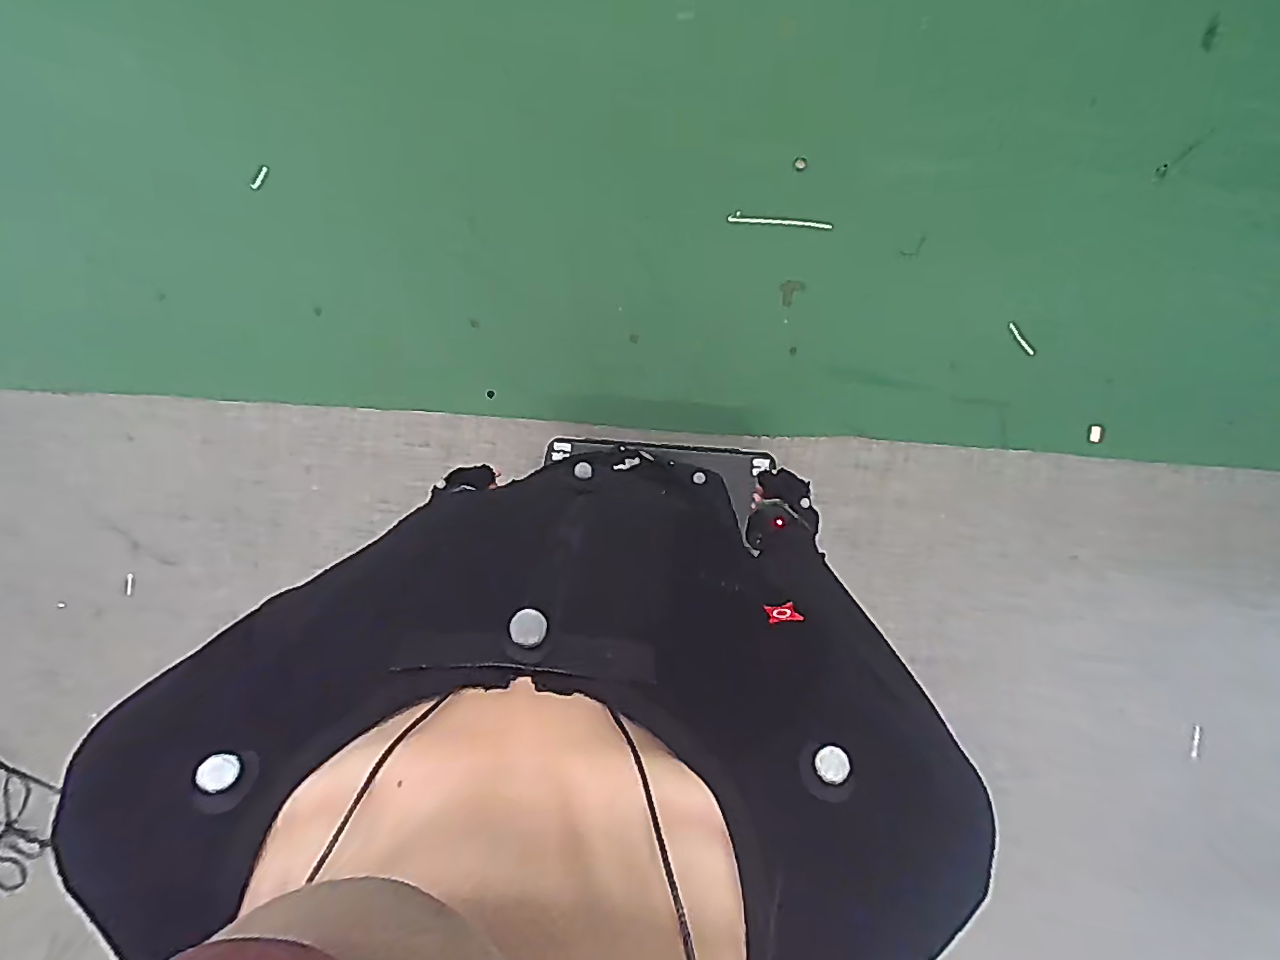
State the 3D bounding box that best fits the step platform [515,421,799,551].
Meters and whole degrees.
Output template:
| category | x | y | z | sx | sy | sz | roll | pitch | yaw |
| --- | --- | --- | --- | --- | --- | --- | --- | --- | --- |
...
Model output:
| category | x | y | z | sx | sy | sz | roll | pitch | yaw |
| --- | --- | --- | --- | --- | --- | --- | --- | --- | --- |
| step platform | 0.040 | 0.009 | 1.388 | 0.684 | 0.204 | 0.286 | 3 | 94 | 1 |
